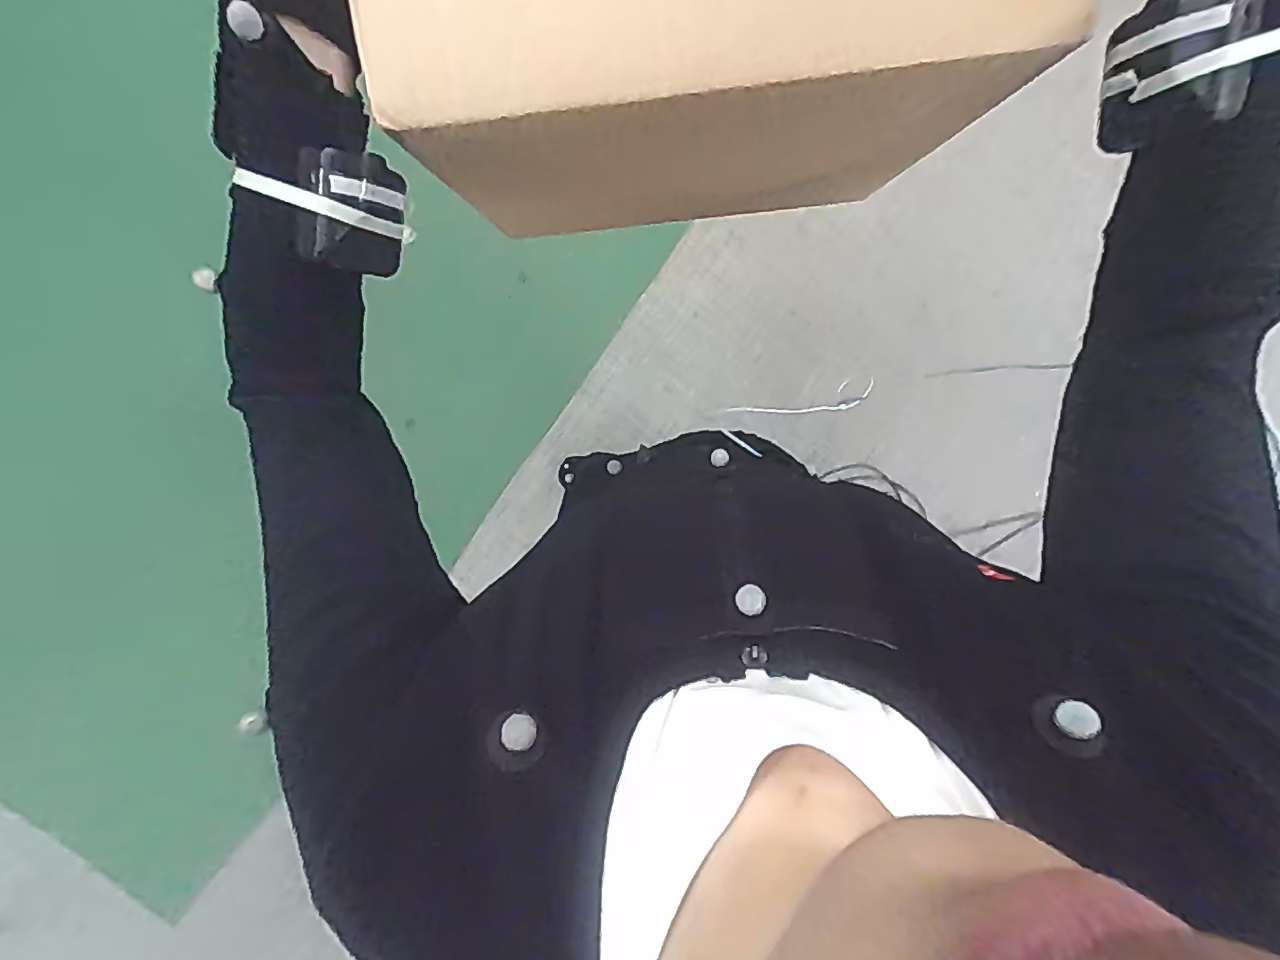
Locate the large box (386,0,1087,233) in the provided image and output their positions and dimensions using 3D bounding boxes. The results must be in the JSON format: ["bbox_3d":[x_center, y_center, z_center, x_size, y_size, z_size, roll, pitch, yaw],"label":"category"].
[{"bbox_3d":[0.040,-0.414,0.427,0.408,0.320,0.320,-6,103,1],"label":"large box"}]
